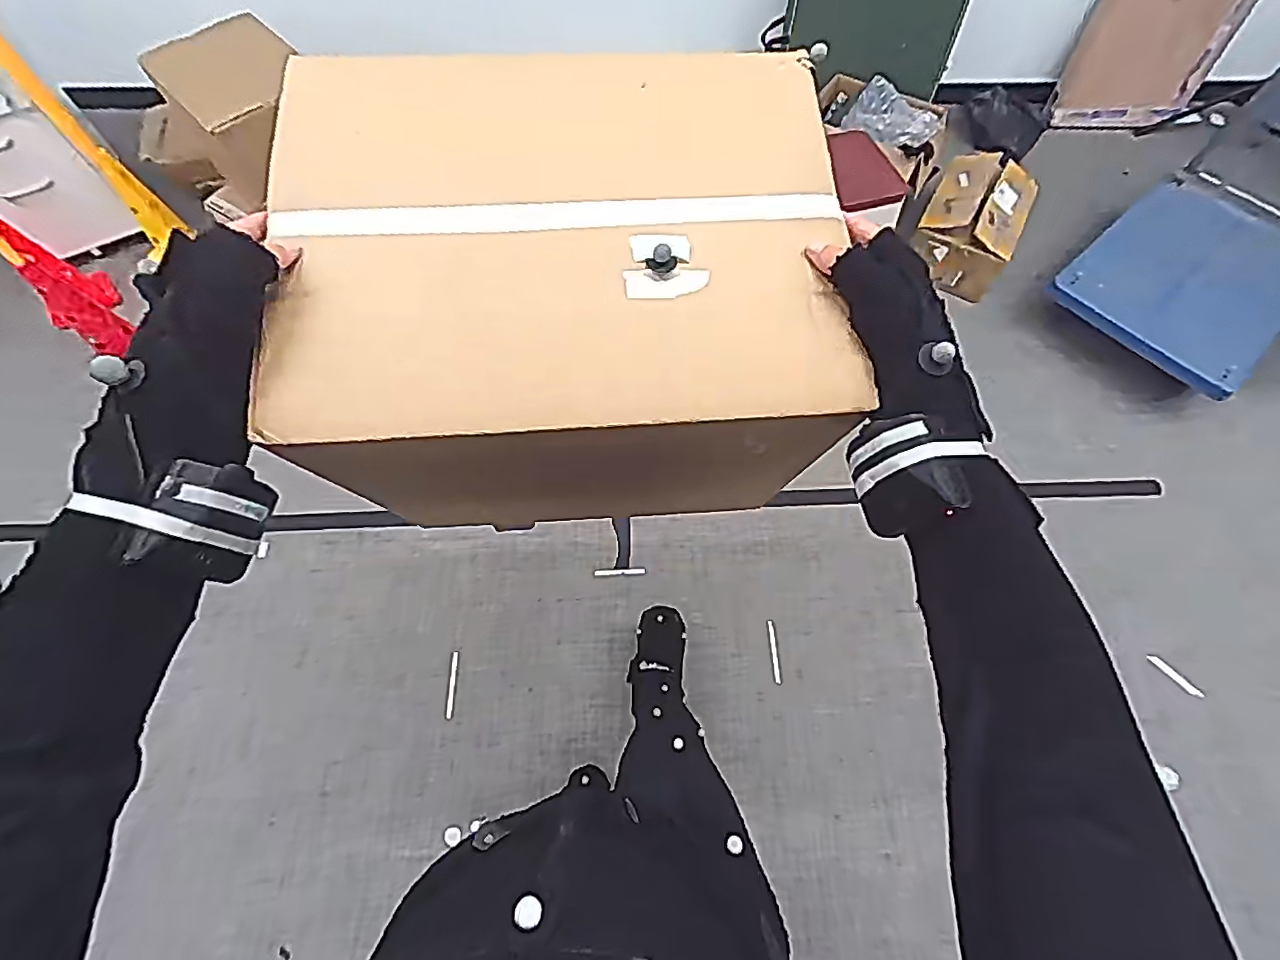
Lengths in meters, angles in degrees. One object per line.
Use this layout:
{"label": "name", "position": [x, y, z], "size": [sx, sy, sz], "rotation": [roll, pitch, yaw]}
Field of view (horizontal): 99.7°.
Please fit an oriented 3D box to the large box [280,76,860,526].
{"label": "large box", "position": [-0.061, -0.144, 0.549], "size": [0.408, 0.320, 0.320], "rotation": [-3, 75, -4]}
